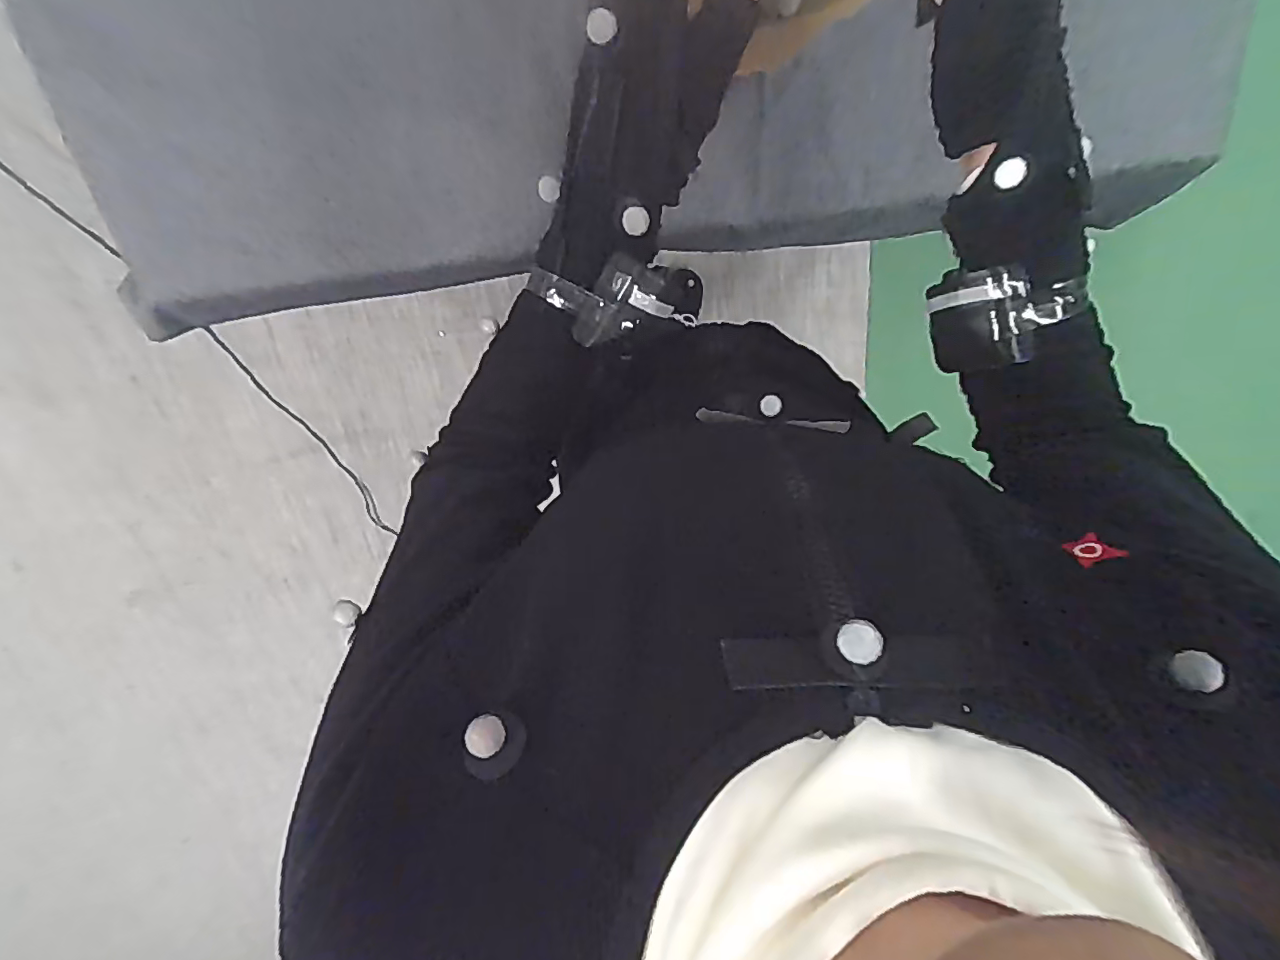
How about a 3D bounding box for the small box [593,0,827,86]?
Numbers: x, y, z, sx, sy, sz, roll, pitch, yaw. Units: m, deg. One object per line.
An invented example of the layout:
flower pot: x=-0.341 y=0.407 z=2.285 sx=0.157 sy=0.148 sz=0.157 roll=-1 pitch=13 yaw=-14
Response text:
small box: x=0.049 y=-0.439 z=0.431 sx=0.179 sy=0.176 sz=0.168 roll=-11 pitch=114 yaw=-7
